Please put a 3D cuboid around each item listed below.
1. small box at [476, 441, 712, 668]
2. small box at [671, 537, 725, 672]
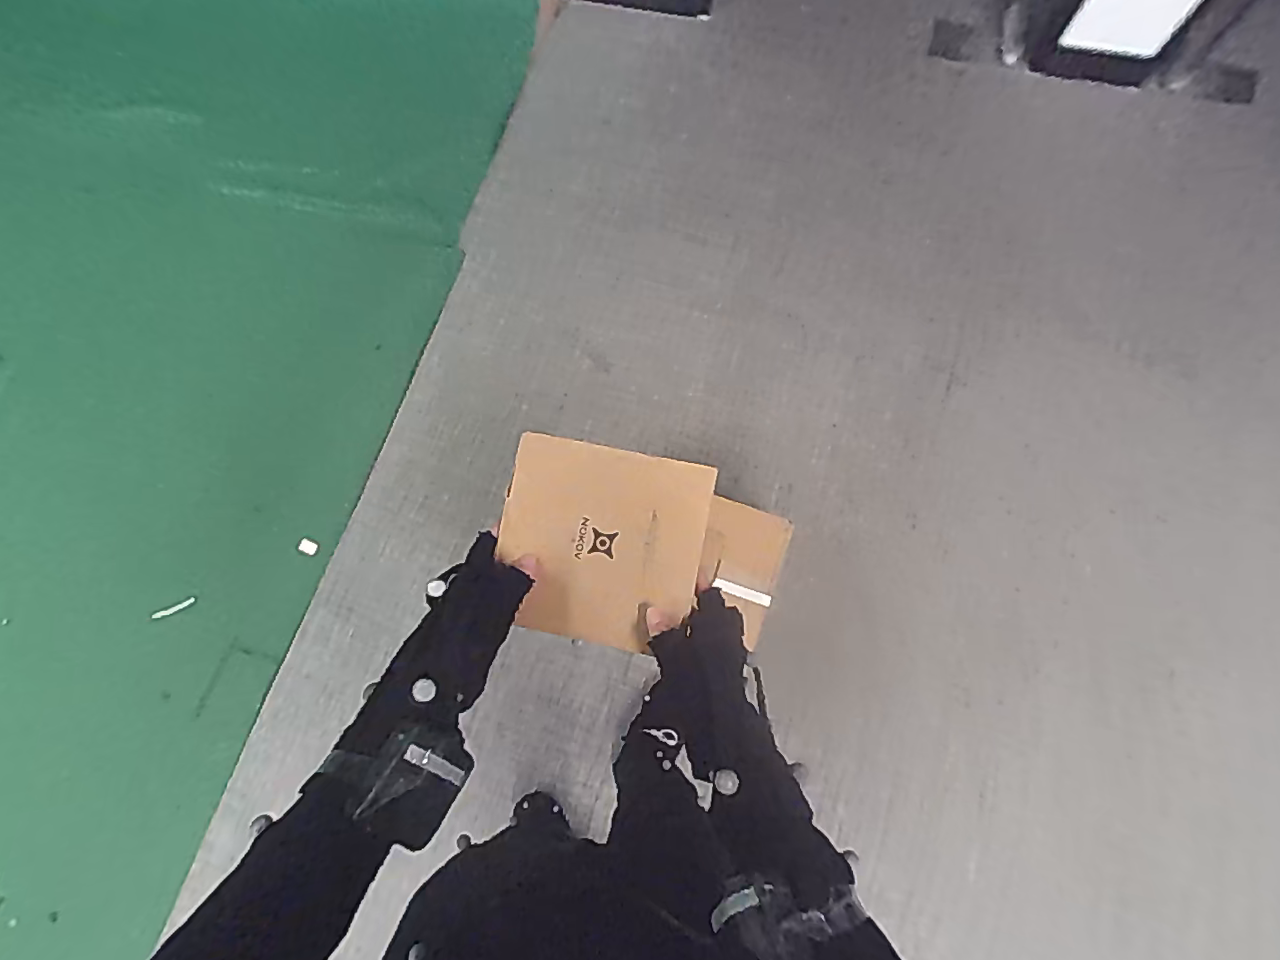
[{"bbox_3d":[-0.035,0.069,0.533,0.179,0.176,0.168,10,85,3],"label":"small box"},{"bbox_3d":[0.007,0.145,0.747,0.179,0.176,0.168,17,79,10],"label":"small box"}]
